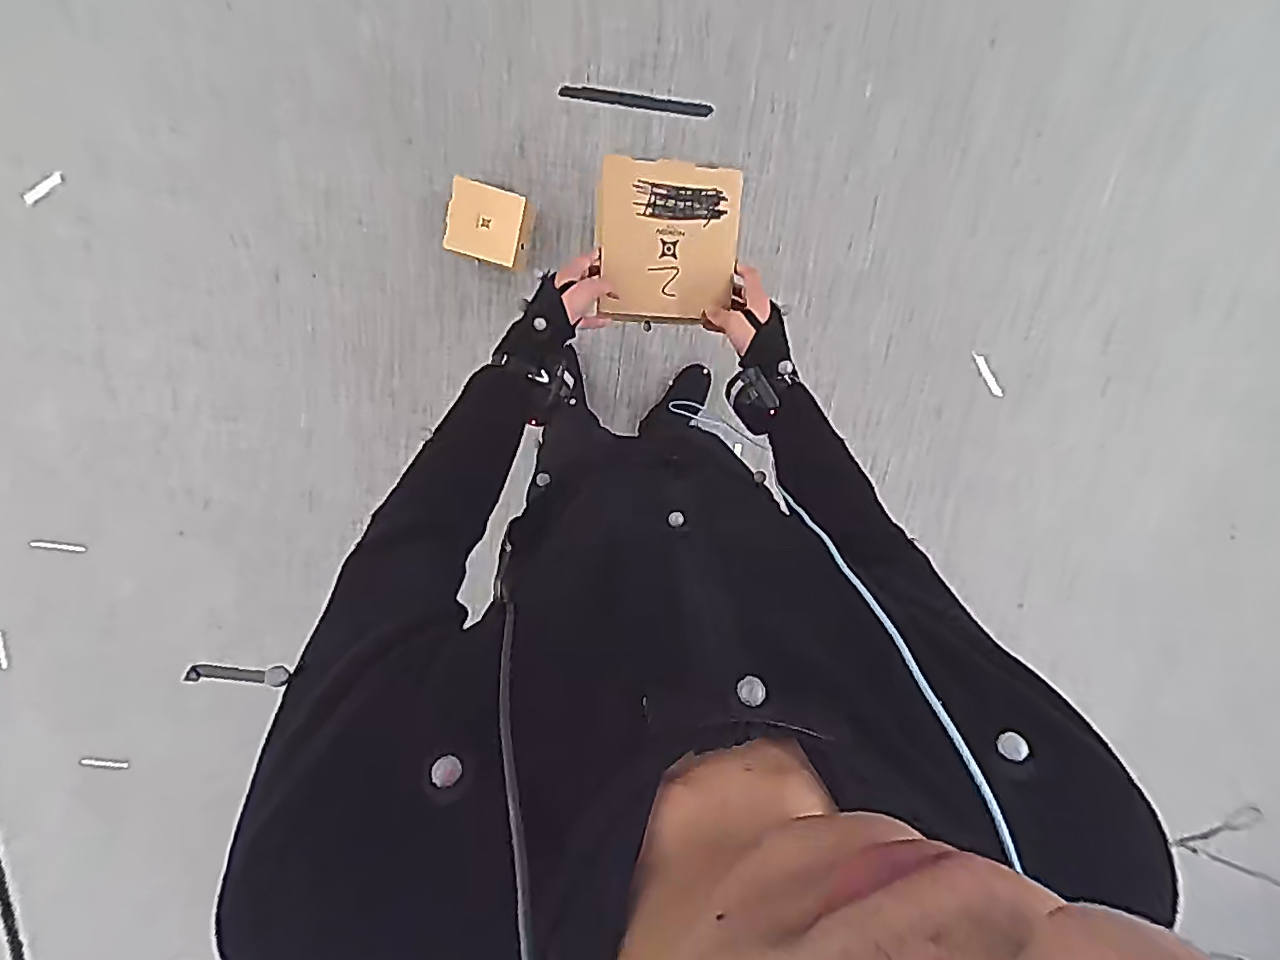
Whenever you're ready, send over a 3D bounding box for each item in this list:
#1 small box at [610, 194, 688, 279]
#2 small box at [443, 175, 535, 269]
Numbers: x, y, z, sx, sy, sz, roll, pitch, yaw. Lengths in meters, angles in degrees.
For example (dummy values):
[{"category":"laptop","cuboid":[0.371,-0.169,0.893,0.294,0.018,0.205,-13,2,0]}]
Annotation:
[{"category":"small box","cuboid":[0.019,-0.619,1.394,0.179,0.176,0.168,5,106,-4]},{"category":"small box","cuboid":[-0.376,-0.646,1.377,0.179,0.176,0.168,15,105,-5]}]
